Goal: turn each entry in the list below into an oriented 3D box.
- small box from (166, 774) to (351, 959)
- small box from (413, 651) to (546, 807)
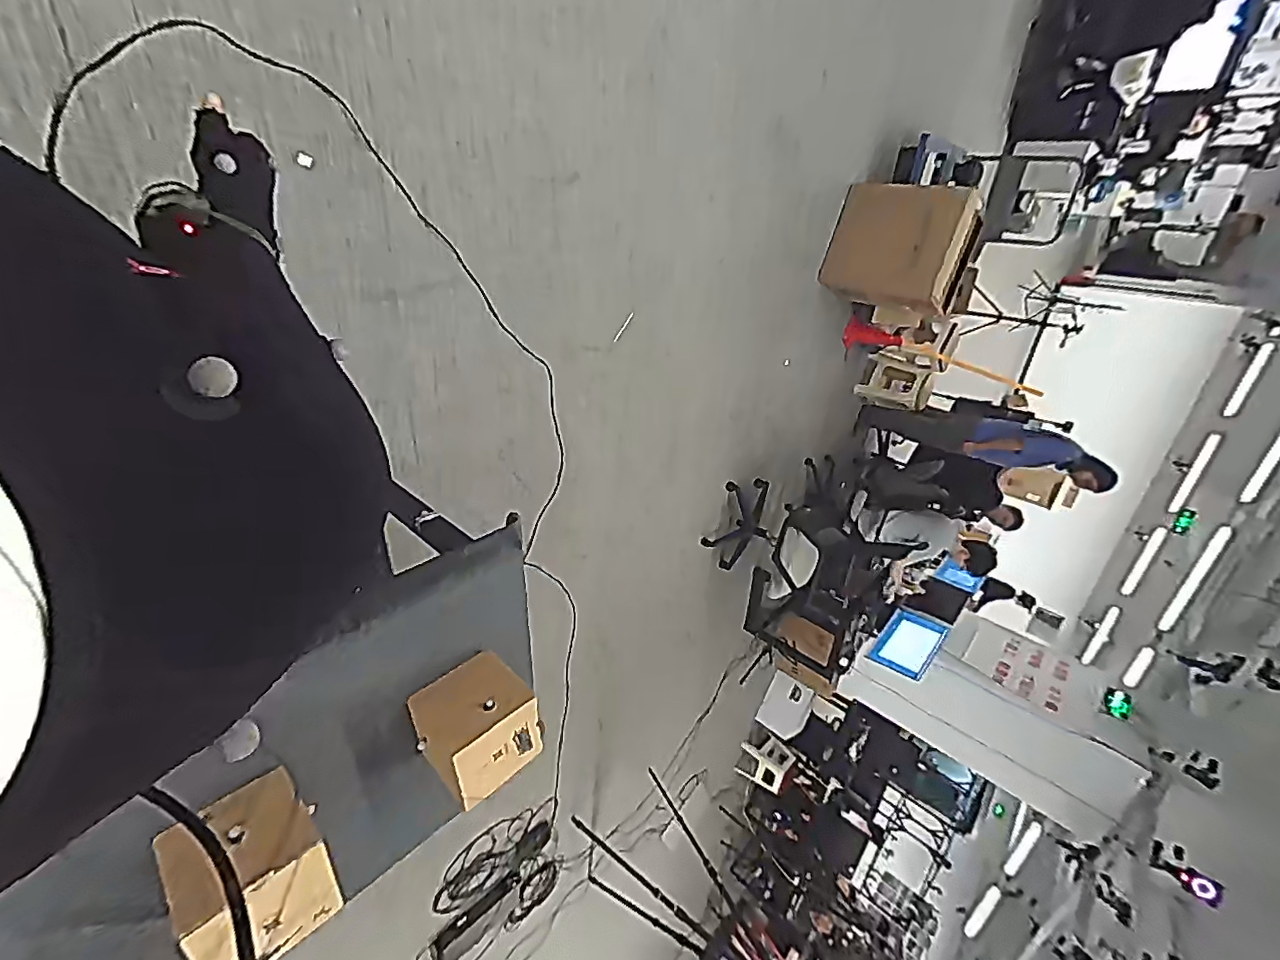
[{"bbox_3d":[-0.559,0.575,0.798,0.168,0.176,0.179,-23,127,-42],"label":"small box"},{"bbox_3d":[-0.307,0.469,1.047,0.179,0.176,0.168,-27,129,-39],"label":"small box"}]
